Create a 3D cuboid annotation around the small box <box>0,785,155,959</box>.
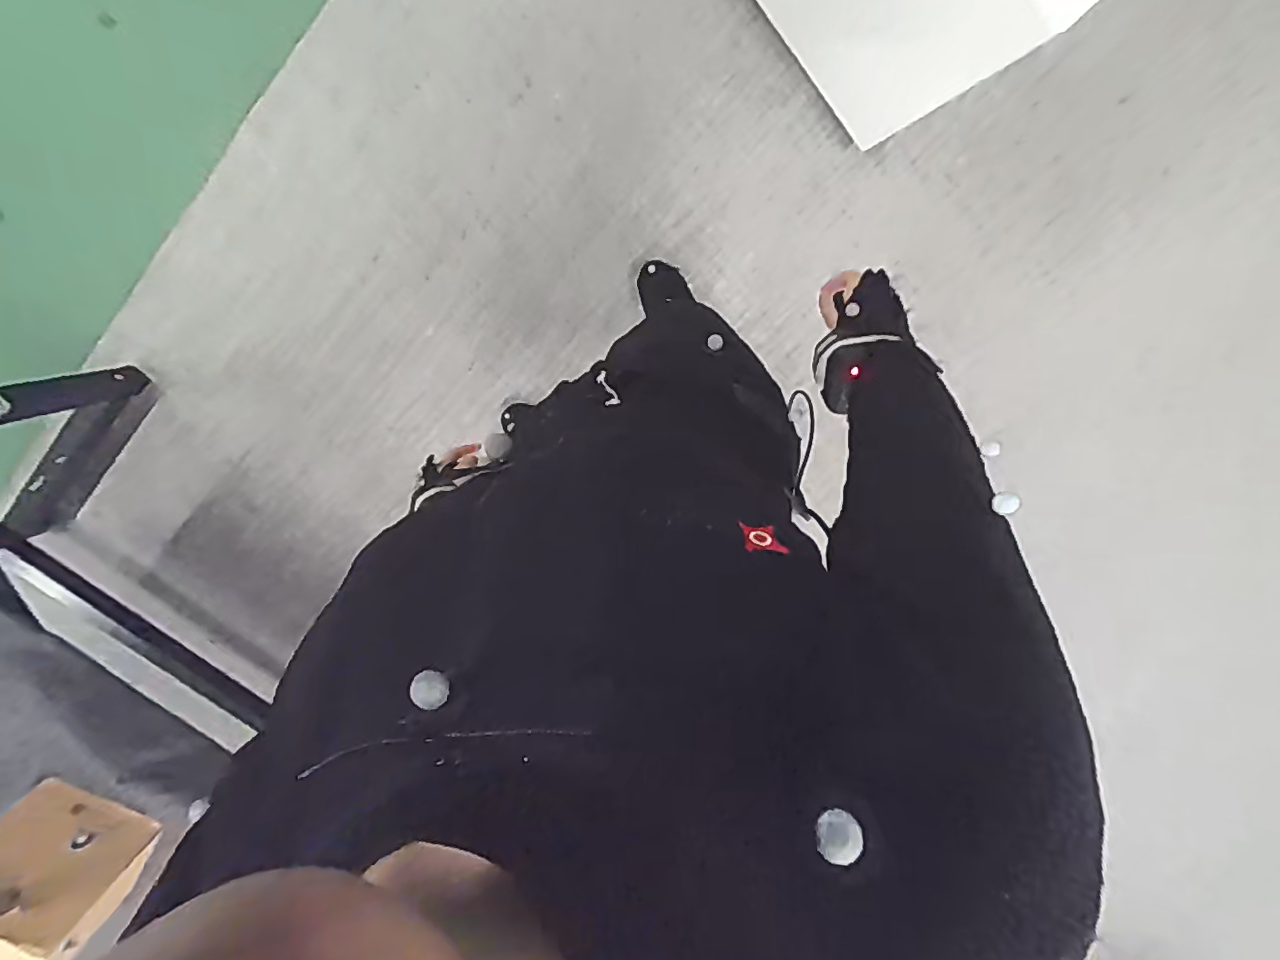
[{"bbox_3d":[-0.800,0.551,0.707,0.168,0.176,0.179,33,106,-10],"label":"small box"}]
